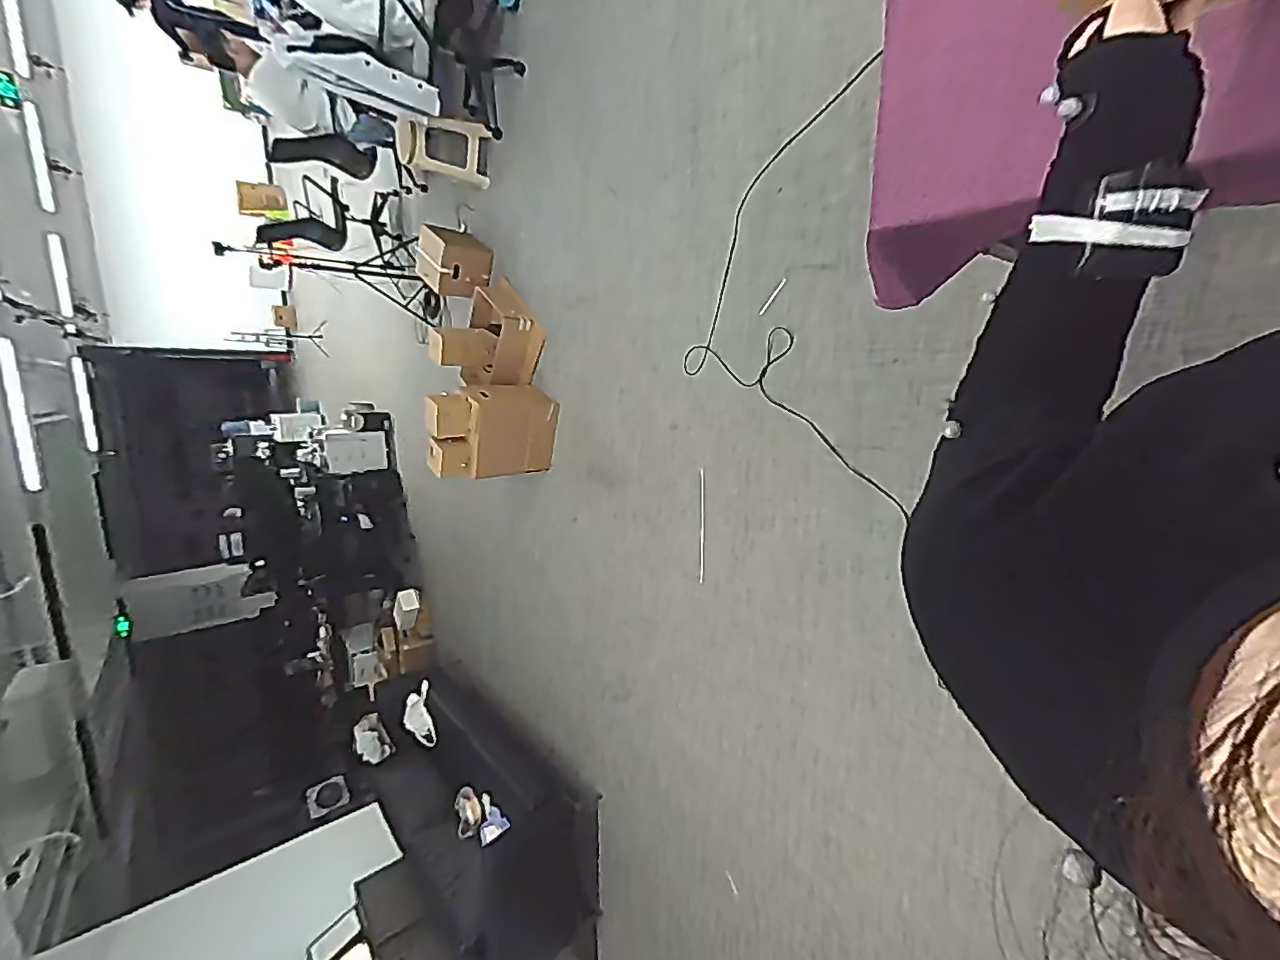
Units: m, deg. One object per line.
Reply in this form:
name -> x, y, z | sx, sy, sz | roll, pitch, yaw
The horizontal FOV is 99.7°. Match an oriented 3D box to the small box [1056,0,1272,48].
small box -> 0.407, -0.454, 0.379 | 0.168, 0.176, 0.179 | 21, 116, 50
